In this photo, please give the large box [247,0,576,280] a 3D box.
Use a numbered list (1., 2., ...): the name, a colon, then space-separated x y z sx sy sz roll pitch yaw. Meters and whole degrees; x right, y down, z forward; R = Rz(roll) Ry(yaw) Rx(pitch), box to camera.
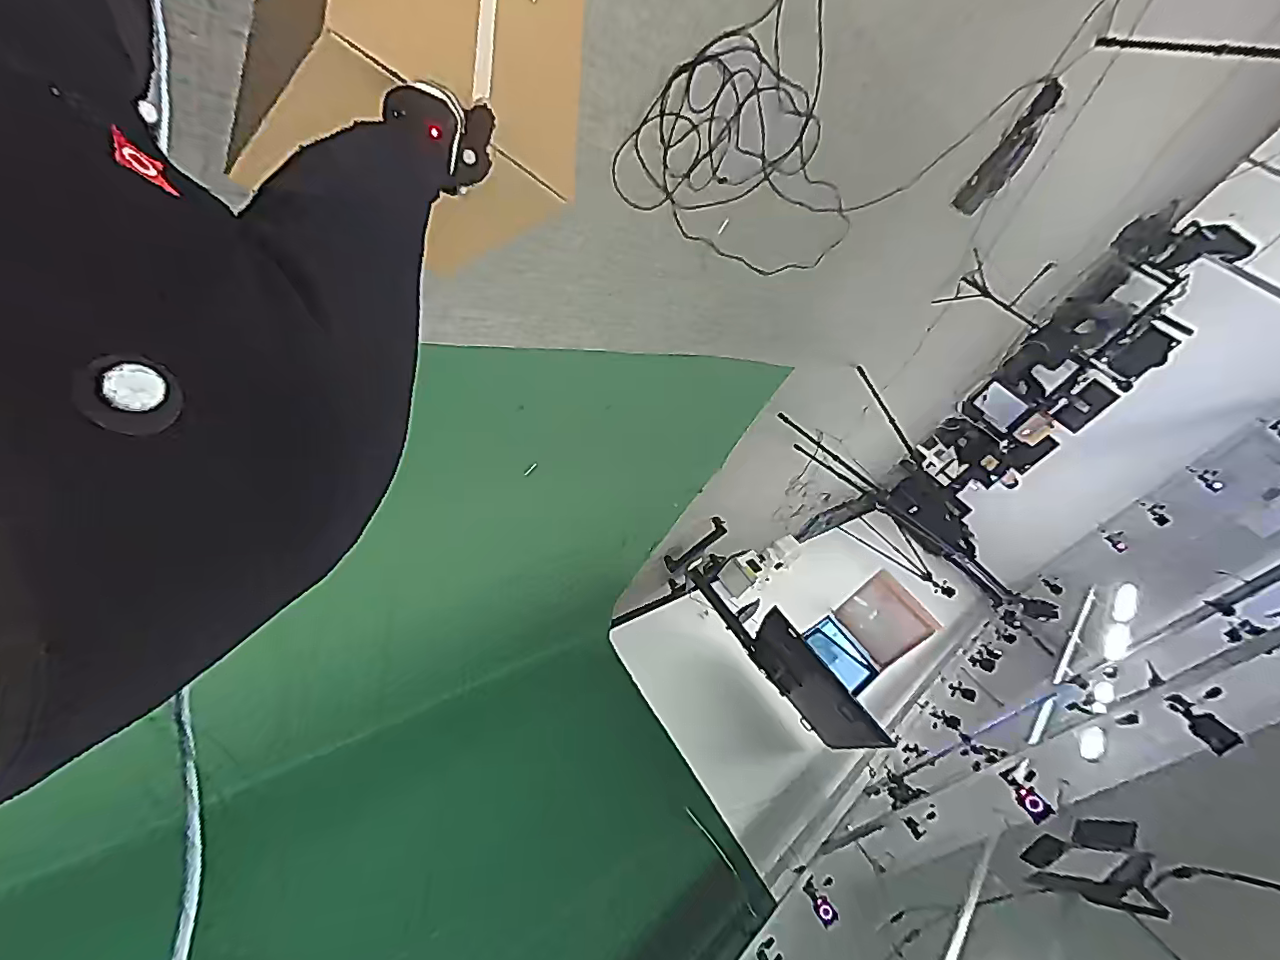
1. large box: -0.304 -0.563 0.749 0.320 0.408 0.320 -8 167 39
